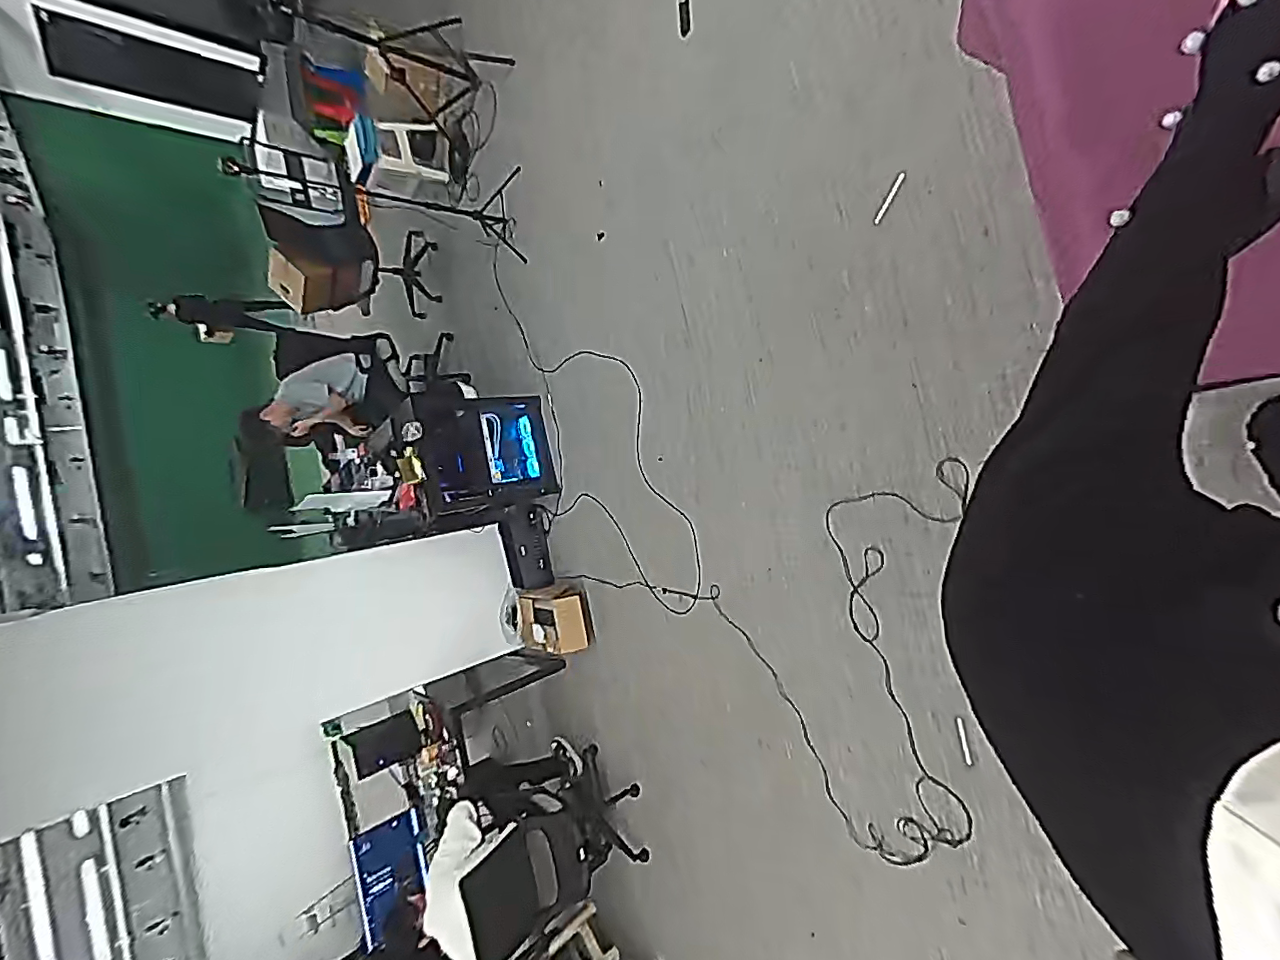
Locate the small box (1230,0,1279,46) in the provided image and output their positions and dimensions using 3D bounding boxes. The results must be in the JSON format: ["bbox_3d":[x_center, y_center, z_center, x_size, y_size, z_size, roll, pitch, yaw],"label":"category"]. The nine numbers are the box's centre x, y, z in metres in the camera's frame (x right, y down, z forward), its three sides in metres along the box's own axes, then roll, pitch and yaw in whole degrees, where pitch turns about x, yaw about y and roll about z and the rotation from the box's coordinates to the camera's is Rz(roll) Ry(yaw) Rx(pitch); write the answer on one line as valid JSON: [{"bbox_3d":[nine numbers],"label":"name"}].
[{"bbox_3d":[0.625,-0.522,0.462,0.168,0.176,0.179,-6,93,49],"label":"small box"}]
